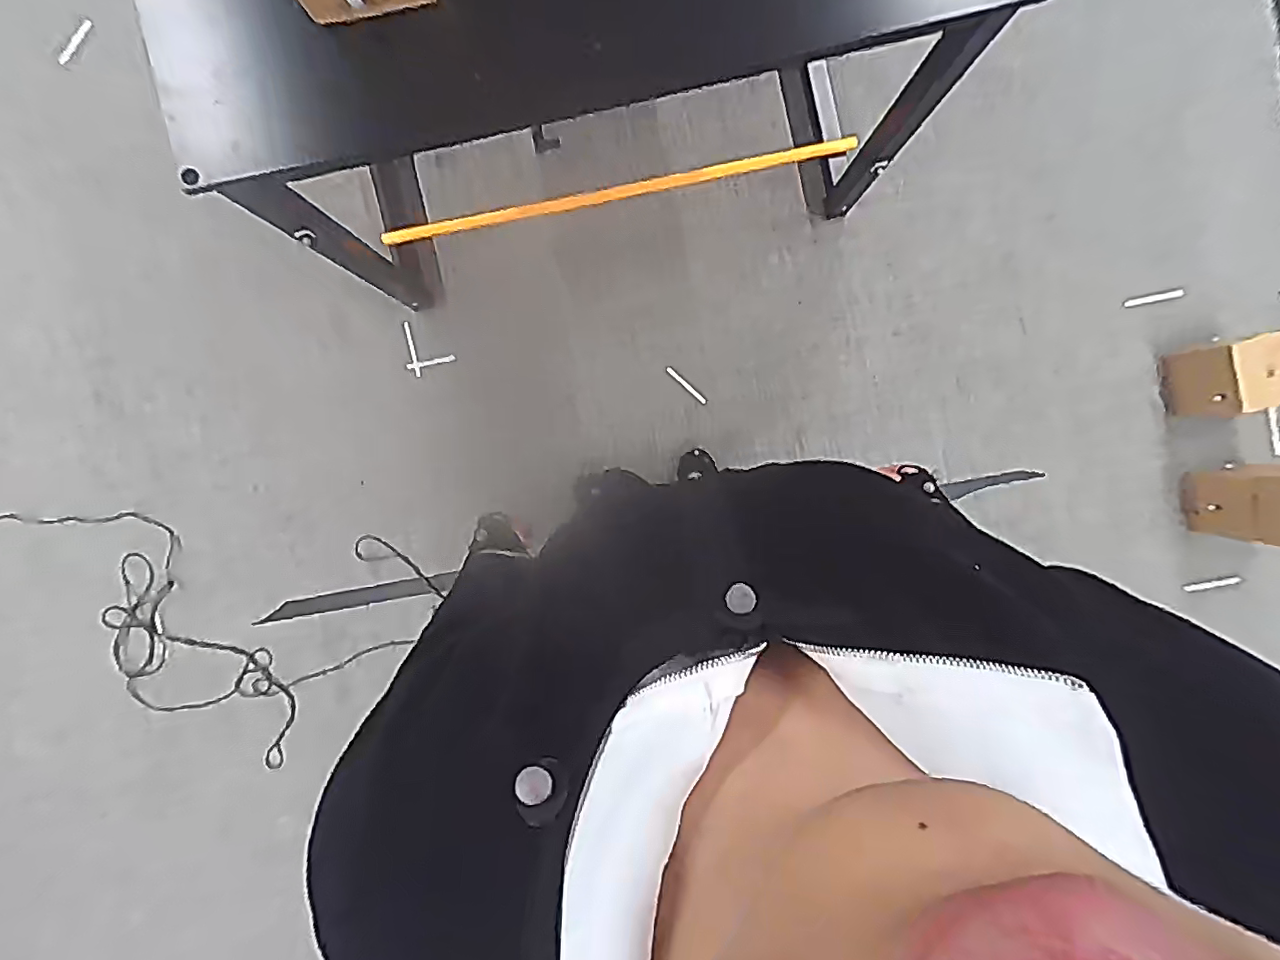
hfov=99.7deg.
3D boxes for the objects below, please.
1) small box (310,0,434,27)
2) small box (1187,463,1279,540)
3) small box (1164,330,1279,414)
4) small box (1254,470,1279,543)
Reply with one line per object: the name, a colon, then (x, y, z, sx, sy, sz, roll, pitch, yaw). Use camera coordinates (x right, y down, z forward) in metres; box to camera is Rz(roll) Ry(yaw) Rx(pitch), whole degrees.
small box: (-0.366, -0.704, 0.643, 0.168, 0.176, 0.179, -12, 94, 2)
small box: (1.575, 0.052, 1.398, 0.179, 0.176, 0.168, -10, 94, 2)
small box: (1.503, -0.268, 1.376, 0.168, 0.176, 0.179, -14, 93, 1)
small box: (1.573, 0.058, 1.233, 0.168, 0.176, 0.179, -11, 94, 1)
